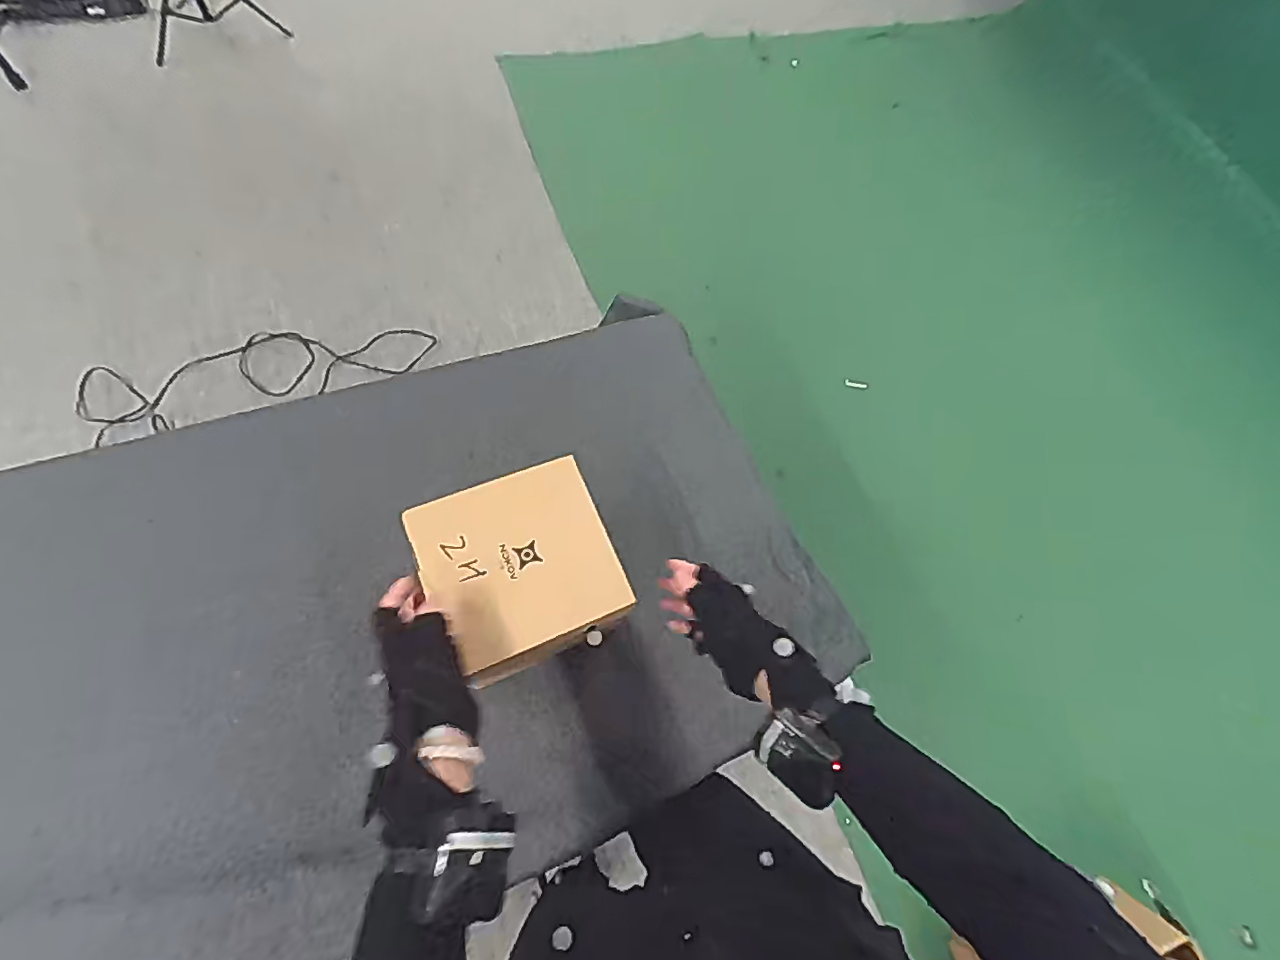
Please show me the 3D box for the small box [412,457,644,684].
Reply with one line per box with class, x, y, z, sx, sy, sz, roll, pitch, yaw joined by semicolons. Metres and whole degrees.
small box;-0.117;0.102;0.578;0.179;0.176;0.168;-20;71;-16
